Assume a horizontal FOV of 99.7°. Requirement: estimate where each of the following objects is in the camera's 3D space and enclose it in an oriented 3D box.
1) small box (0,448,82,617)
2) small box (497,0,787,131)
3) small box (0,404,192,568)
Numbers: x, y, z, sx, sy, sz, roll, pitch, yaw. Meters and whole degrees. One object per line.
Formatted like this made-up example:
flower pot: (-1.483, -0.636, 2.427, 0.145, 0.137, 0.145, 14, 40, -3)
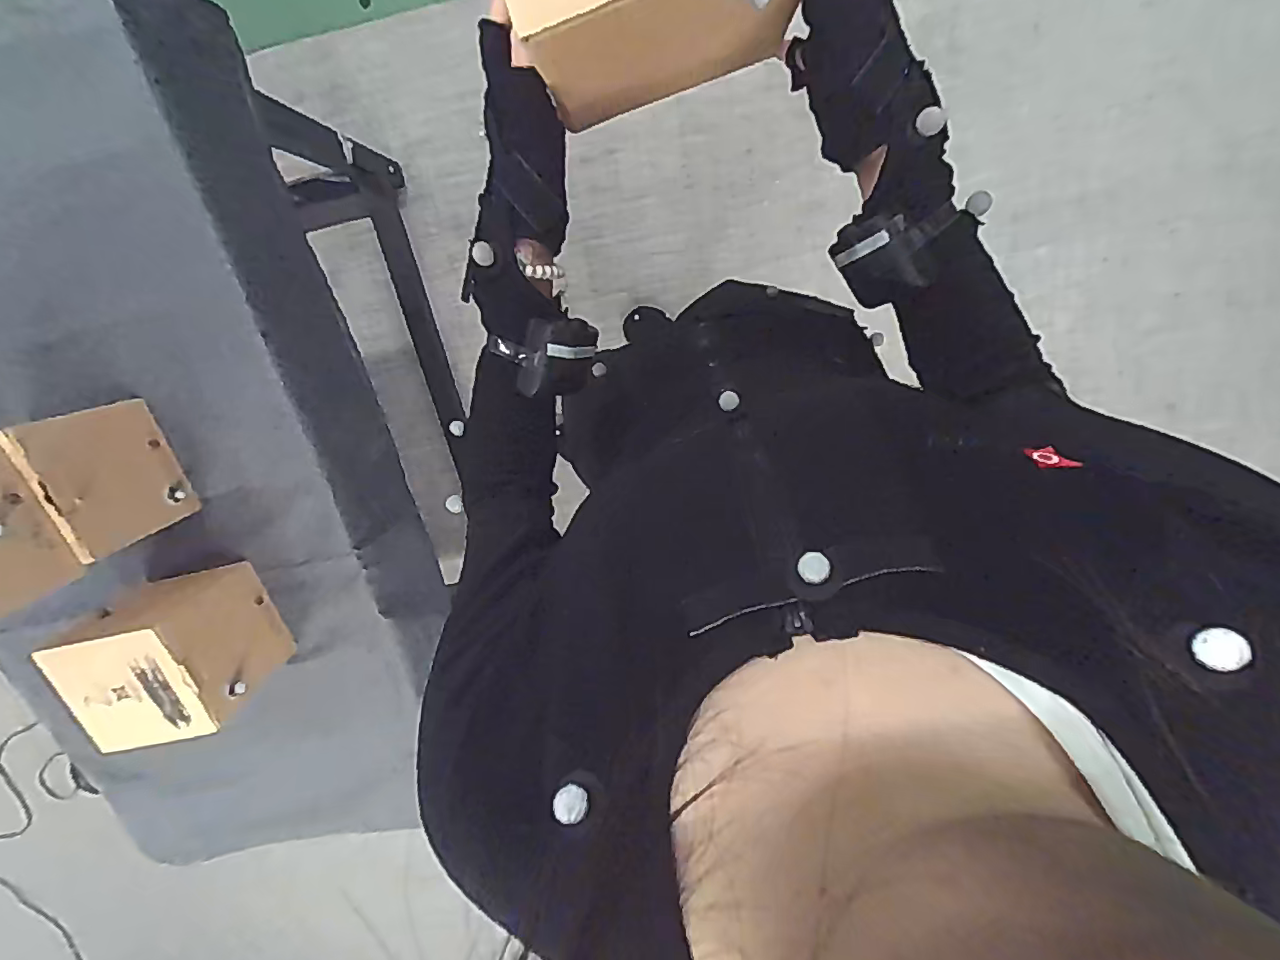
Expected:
small box: (-0.738, 0.080, 0.531, 0.179, 0.176, 0.168, -14, 109, 5)
small box: (-0.006, -0.349, 0.328, 0.179, 0.176, 0.168, -17, 106, 7)
small box: (-0.723, 0.012, 0.681, 0.179, 0.176, 0.168, -12, 108, 6)
